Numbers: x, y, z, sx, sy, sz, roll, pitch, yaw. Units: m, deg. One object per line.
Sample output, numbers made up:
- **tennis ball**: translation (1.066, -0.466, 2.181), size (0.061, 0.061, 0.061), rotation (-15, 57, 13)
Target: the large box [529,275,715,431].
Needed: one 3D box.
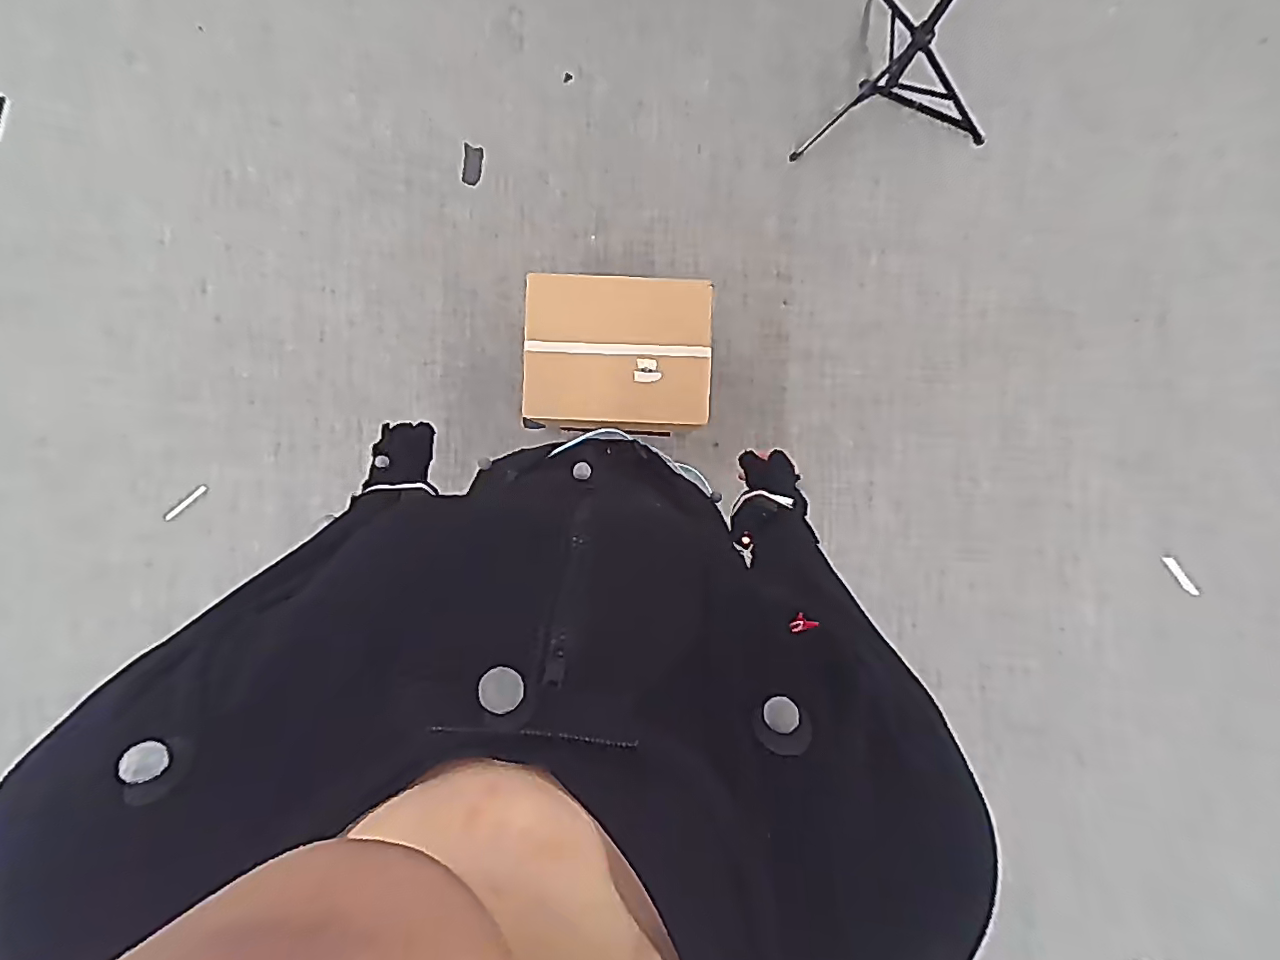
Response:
- **large box**: translation (-0.043, -0.287, 1.324), size (0.408, 0.320, 0.320), rotation (3, 92, -1)
